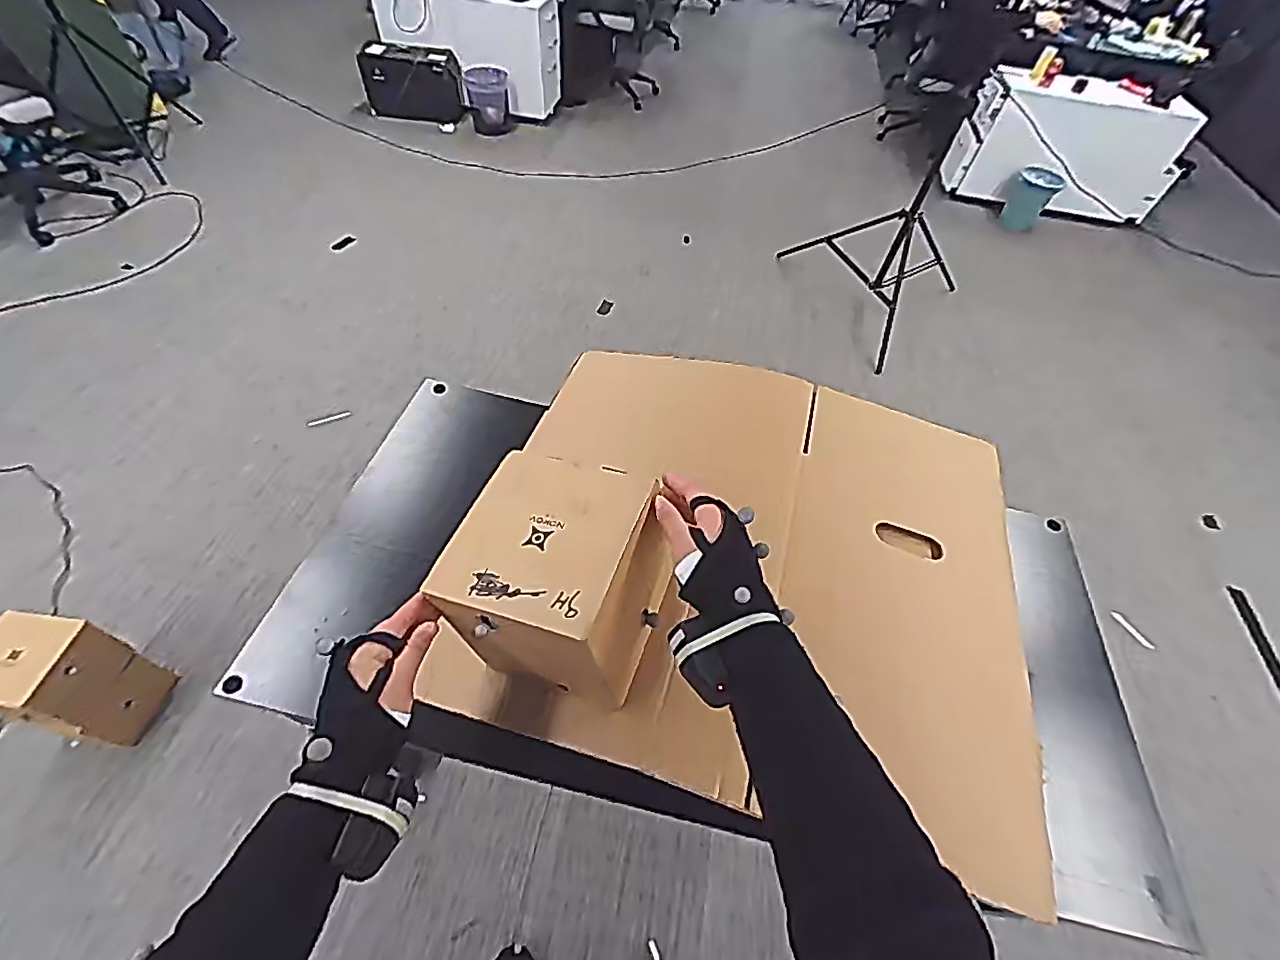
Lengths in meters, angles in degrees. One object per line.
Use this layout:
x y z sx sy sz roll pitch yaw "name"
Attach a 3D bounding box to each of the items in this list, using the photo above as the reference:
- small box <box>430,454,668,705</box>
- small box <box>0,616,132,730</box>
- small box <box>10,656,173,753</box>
-0.074 0.102 0.563 0.168 0.176 0.179 10 51 19 "small box"
-1.229 0.405 1.123 0.168 0.176 0.179 7 51 -2 "small box"
-1.242 0.508 1.248 0.168 0.176 0.179 9 53 1 "small box"
